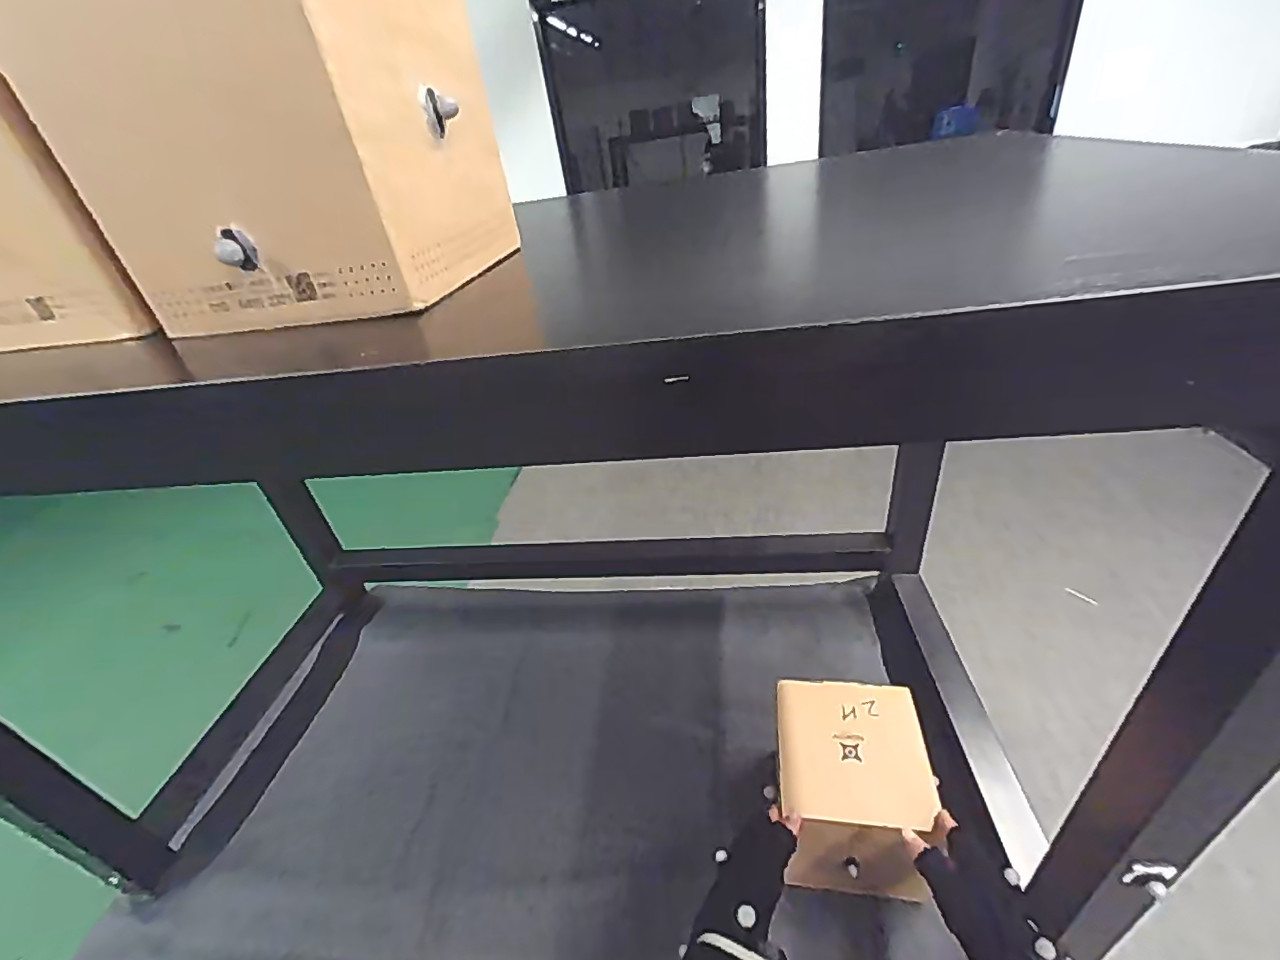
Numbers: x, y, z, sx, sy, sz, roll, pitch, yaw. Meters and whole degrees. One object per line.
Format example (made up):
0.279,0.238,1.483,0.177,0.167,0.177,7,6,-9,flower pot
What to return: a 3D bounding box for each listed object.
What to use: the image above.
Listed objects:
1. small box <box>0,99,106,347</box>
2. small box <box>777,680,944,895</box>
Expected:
-0.577,-0.182,0.410,0.168,0.176,0.179,-2,34,11,small box
0.259,0.381,0.678,0.168,0.176,0.179,-1,33,12,small box
